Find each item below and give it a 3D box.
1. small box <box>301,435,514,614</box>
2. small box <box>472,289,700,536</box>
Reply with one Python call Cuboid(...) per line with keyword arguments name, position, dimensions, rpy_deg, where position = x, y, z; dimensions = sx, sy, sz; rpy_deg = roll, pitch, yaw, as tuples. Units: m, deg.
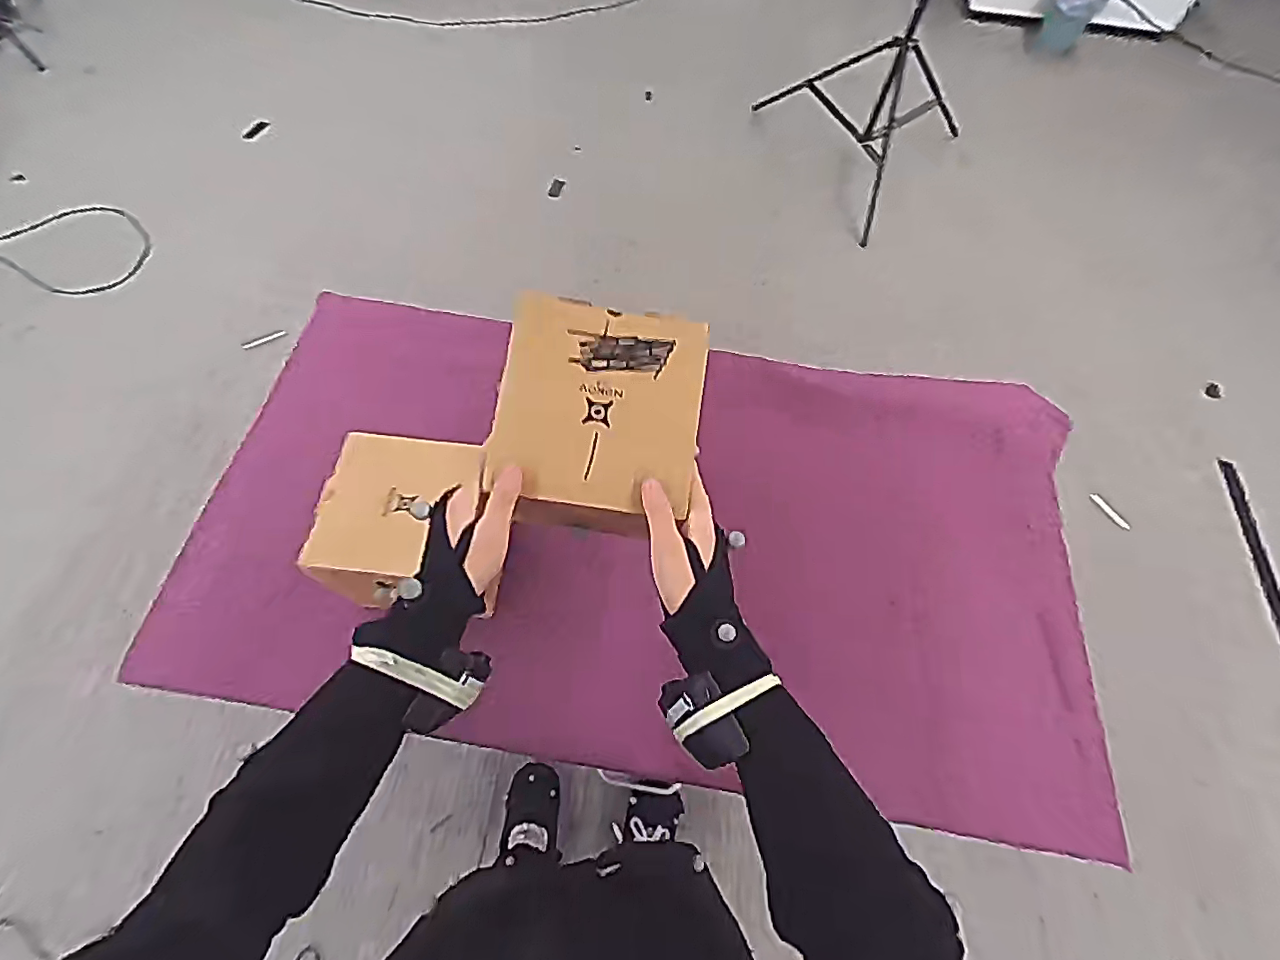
Cuboid(name="small box", position=(-0.266, 0.063, 0.672), dimensions=(0.179, 0.176, 0.168), rpy_deg=(6, 64, 1))
Cuboid(name="small box", position=(-0.047, -0.049, 0.517), dimensions=(0.168, 0.176, 0.179), rpy_deg=(8, 79, -3))
